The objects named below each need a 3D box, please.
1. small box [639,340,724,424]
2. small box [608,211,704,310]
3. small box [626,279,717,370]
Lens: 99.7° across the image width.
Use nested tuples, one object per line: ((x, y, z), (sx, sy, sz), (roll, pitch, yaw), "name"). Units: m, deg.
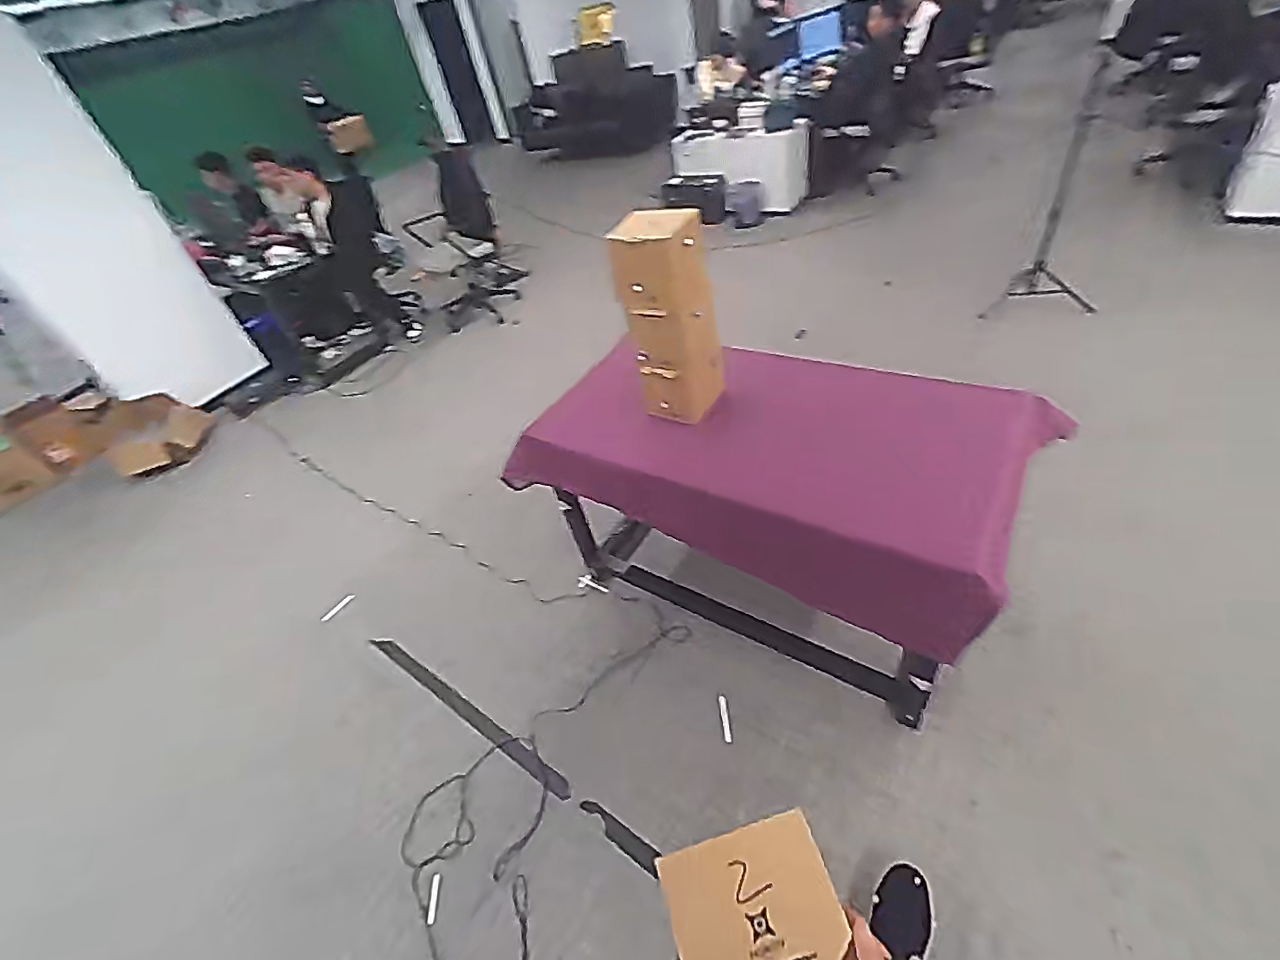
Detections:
((0.122, -0.283, 1.503), (0.168, 0.176, 0.179), (18, 51, 32), "small box")
((0.047, -0.526, 1.296), (0.168, 0.176, 0.179), (11, 48, 26), "small box")
((0.090, -0.403, 1.395), (0.168, 0.176, 0.179), (15, 49, 29), "small box")
